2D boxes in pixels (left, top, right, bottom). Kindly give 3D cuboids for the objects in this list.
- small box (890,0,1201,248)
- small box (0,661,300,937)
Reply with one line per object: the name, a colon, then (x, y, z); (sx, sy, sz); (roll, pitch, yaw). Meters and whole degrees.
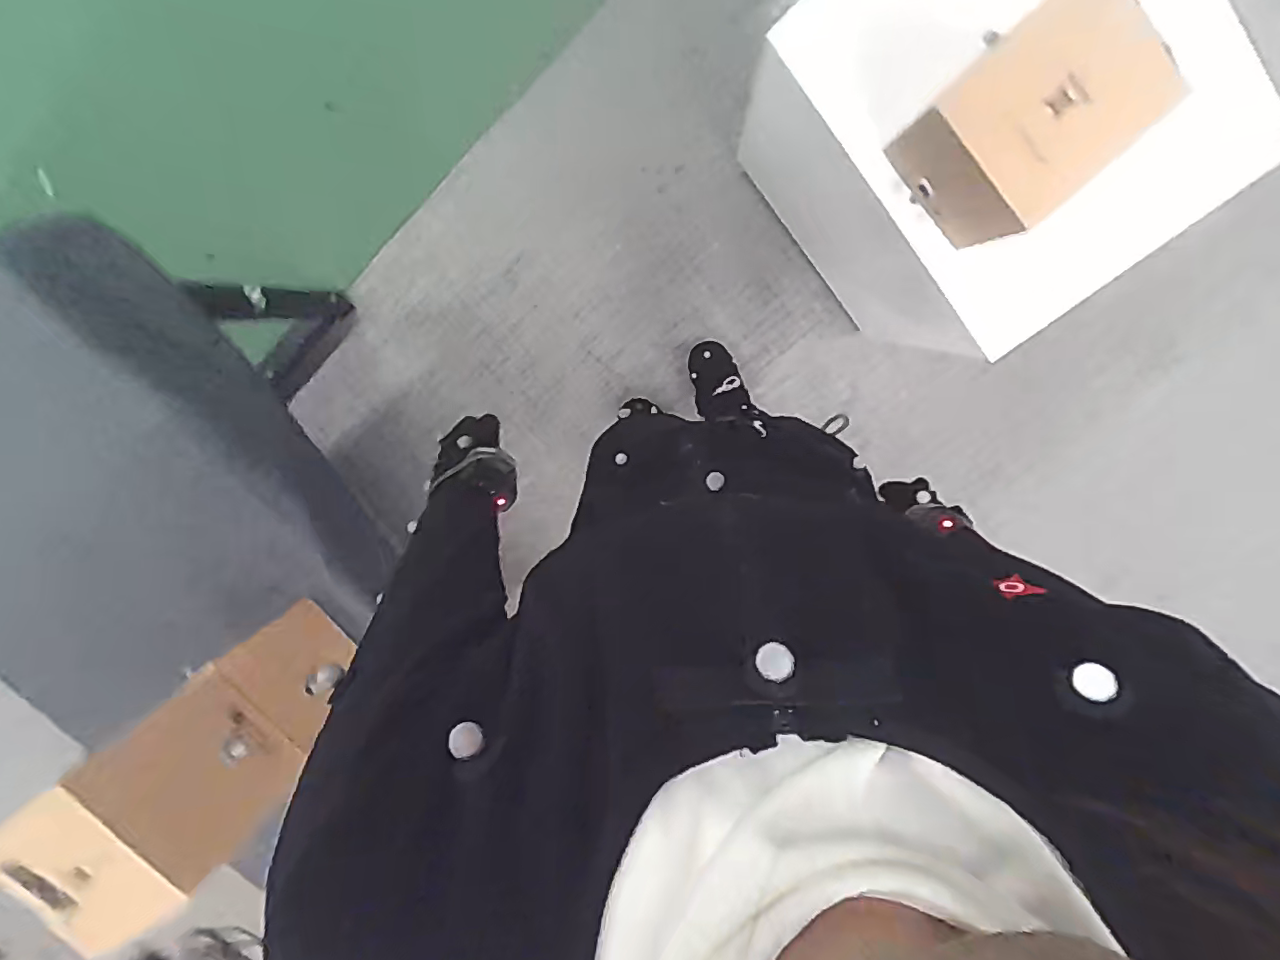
small box: (0.410, -0.381, 0.585); (0.179, 0.176, 0.168); (-41, 97, 17)
small box: (-0.532, 0.343, 0.602); (0.179, 0.176, 0.168); (-38, 98, 18)
